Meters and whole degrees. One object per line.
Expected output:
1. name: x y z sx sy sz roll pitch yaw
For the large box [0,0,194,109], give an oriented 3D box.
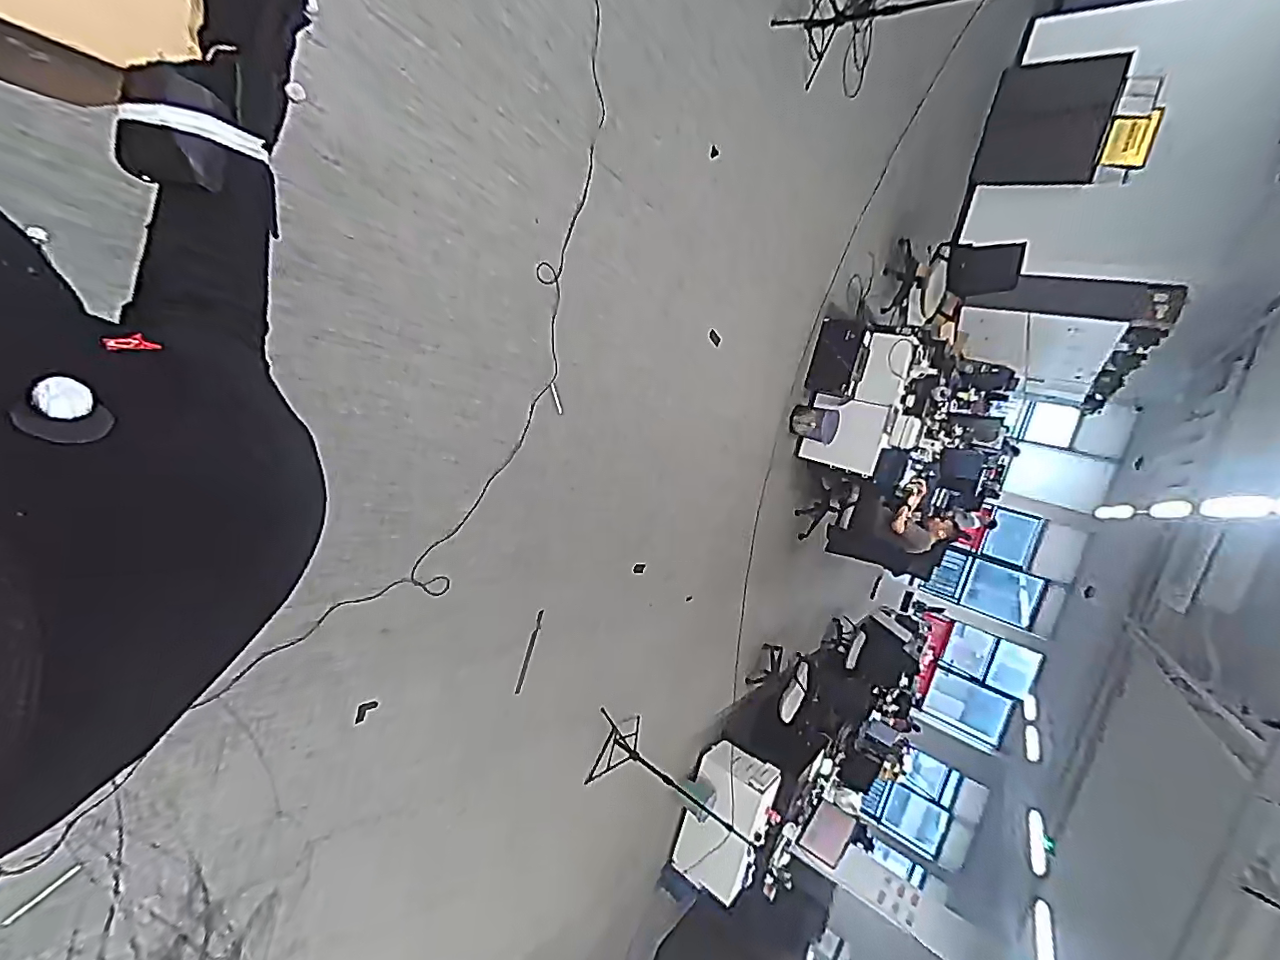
1. large box: -0.512 -0.438 0.255 0.408 0.320 0.320 -7 117 -56
